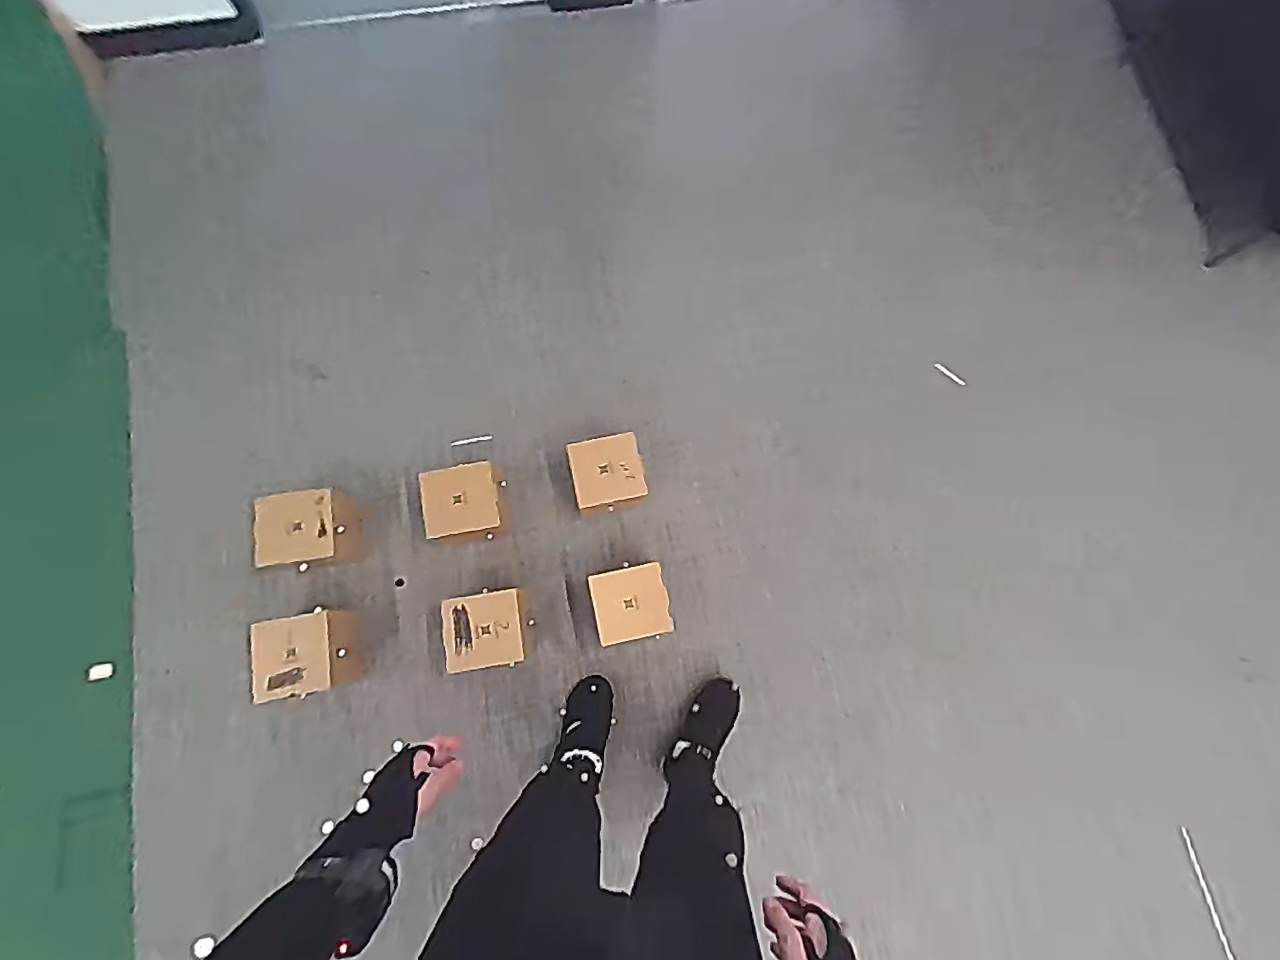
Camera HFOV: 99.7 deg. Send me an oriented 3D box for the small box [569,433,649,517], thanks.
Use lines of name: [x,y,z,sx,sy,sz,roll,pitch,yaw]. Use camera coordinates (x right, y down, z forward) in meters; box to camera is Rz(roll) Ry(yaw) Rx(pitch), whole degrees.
small box: [-0.079,-0.008,1.402,0.179,0.176,0.168,-11,79,-6]

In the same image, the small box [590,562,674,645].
small box: [-0.023,0.307,1.340,0.179,0.176,0.168,-11,78,-7]

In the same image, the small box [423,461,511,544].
small box: [-0.429,0.061,1.367,0.179,0.176,0.168,-10,78,-5]

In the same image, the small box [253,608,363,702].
small box: [-0.772,0.403,1.271,0.168,0.176,0.179,-9,78,-6]

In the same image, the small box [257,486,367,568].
small box: [-0.800,0.121,1.332,0.179,0.176,0.168,-7,78,-4]
